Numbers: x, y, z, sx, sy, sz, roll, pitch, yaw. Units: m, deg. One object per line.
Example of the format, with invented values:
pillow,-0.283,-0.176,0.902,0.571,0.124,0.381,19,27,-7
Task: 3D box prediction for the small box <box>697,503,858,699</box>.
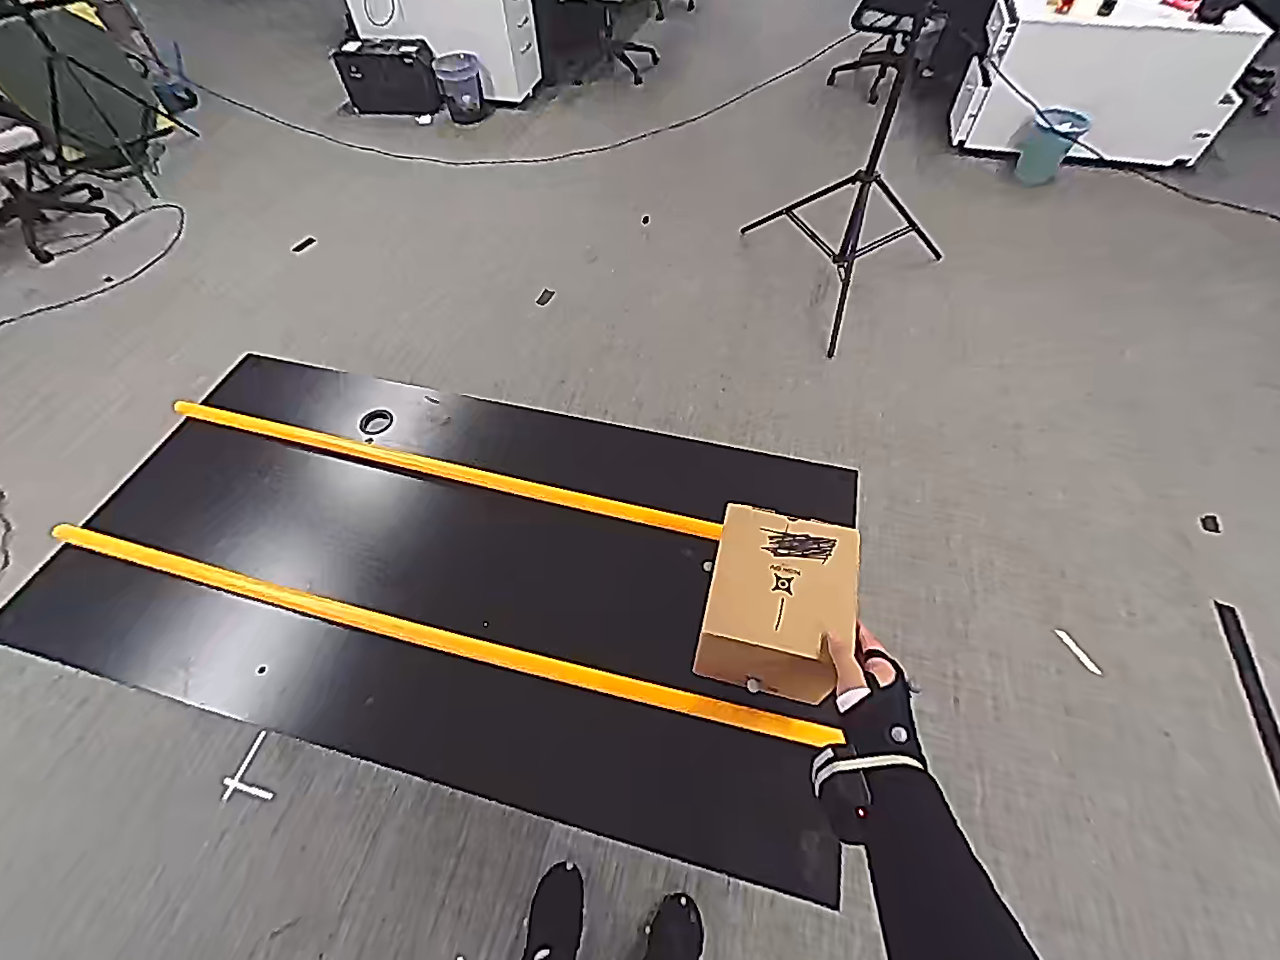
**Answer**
small box,0.172,0.159,0.701,0.168,0.176,0.179,11,56,10
